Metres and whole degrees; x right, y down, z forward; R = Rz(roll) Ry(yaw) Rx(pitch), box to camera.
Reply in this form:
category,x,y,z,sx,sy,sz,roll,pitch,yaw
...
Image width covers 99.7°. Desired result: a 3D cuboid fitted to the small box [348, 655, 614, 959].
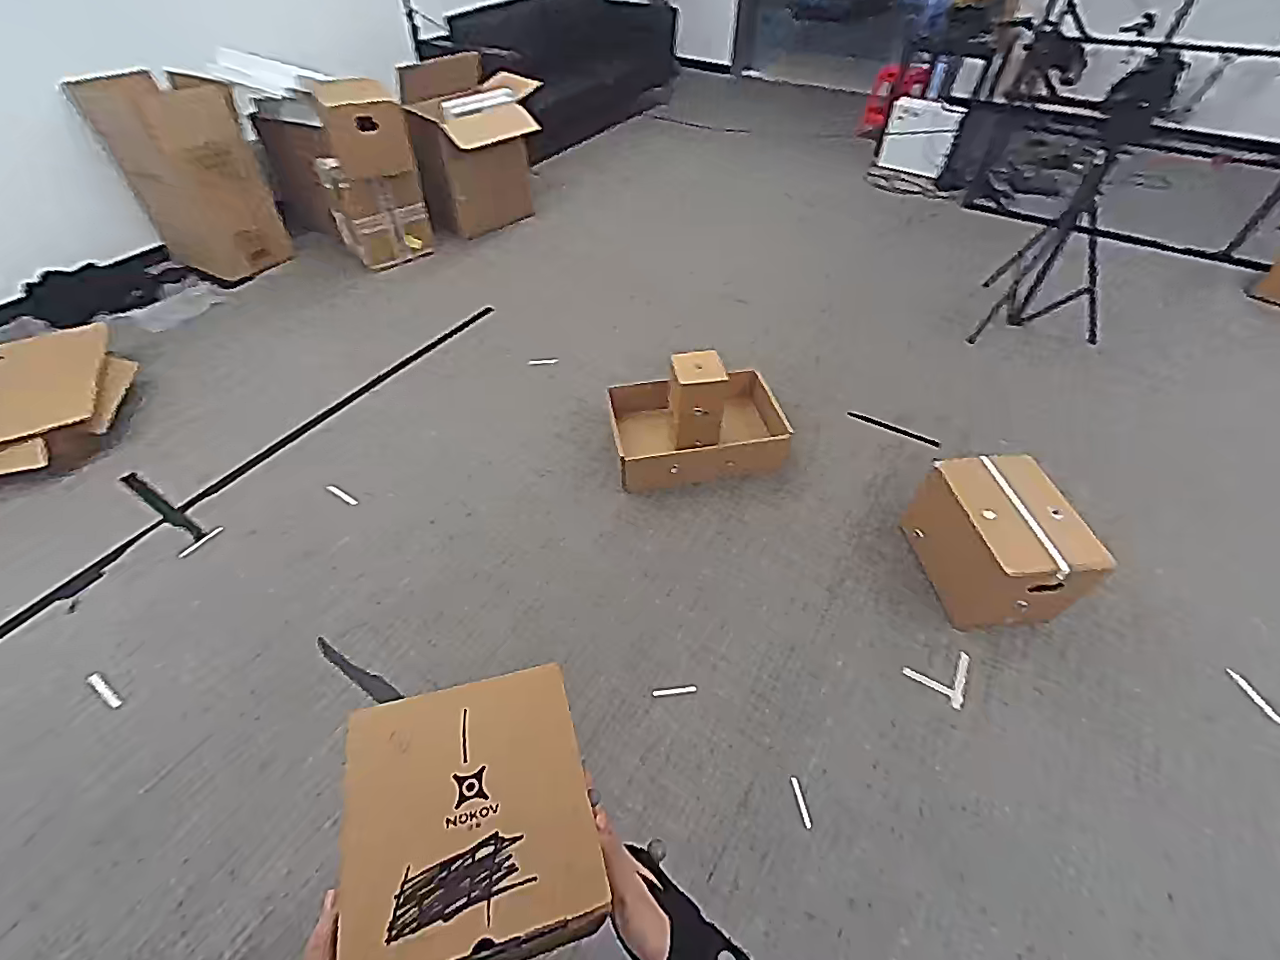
category,x,y,z,sx,sy,sz,roll,pitch,yaw
small box,-0.124,0.277,0.445,0.168,0.176,0.179,-8,47,-16

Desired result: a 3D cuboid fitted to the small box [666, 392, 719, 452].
category,x,y,z,sx,sy,sz,roll,pitch,yaw
small box,0.190,-0.228,2.024,0.168,0.176,0.179,-7,49,-5

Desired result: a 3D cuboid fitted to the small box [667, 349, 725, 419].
category,x,y,z,sx,sy,sz,roll,pitch,yaw
small box,0.190,-0.338,1.904,0.168,0.176,0.179,-8,49,-6
